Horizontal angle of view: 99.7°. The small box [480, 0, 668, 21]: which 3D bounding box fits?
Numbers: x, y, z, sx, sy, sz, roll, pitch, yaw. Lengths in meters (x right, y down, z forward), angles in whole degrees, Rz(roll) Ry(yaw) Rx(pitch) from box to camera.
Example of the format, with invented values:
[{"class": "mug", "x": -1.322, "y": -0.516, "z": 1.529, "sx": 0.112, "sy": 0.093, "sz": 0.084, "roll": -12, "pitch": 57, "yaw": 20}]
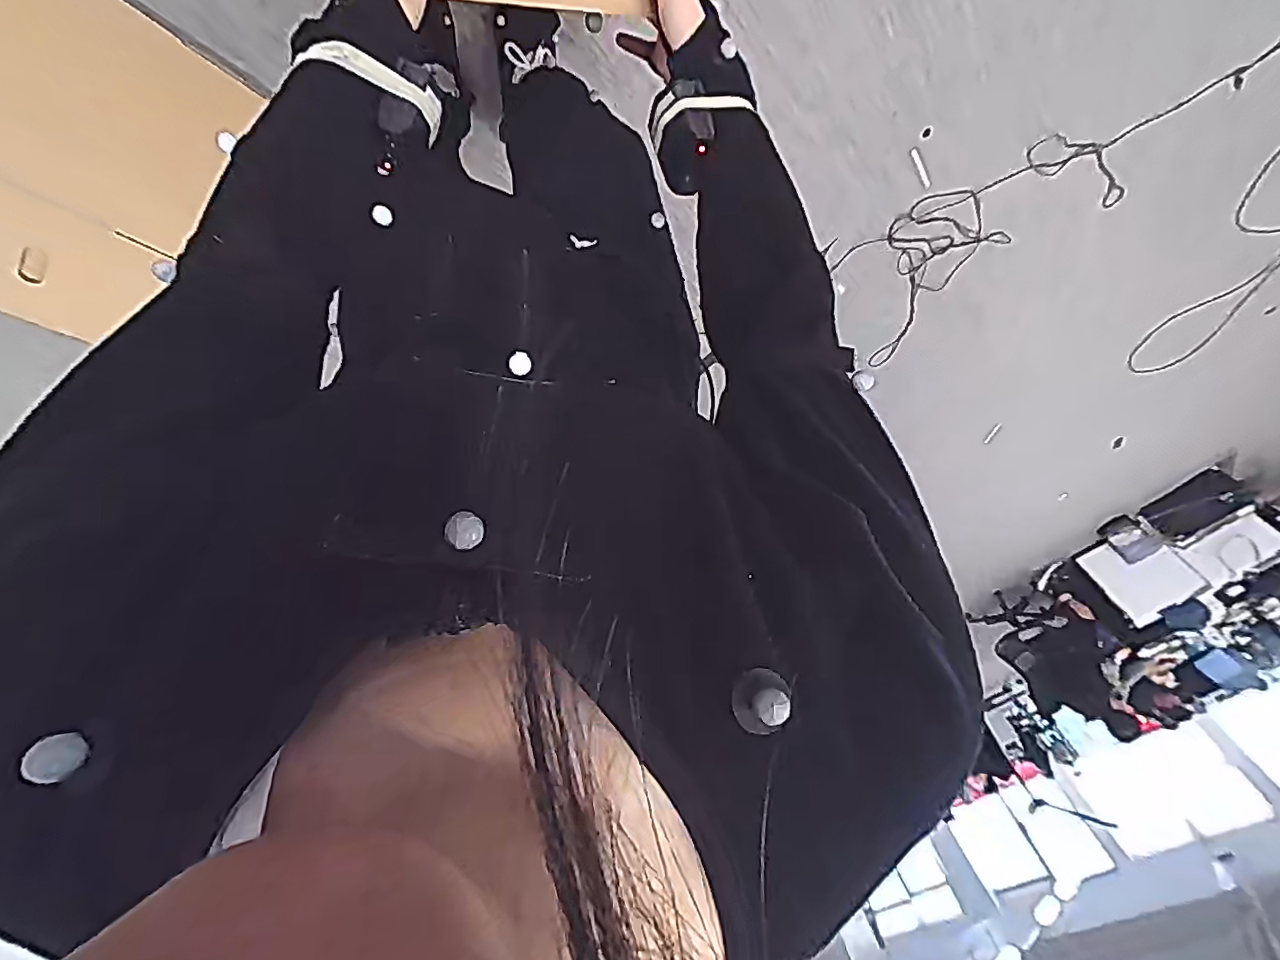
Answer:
[{"class": "small box", "x": -0.075, "y": -0.473, "z": 0.403, "sx": 0.179, "sy": 0.176, "sz": 0.168, "roll": -8, "pitch": 139, "yaw": -16}]
